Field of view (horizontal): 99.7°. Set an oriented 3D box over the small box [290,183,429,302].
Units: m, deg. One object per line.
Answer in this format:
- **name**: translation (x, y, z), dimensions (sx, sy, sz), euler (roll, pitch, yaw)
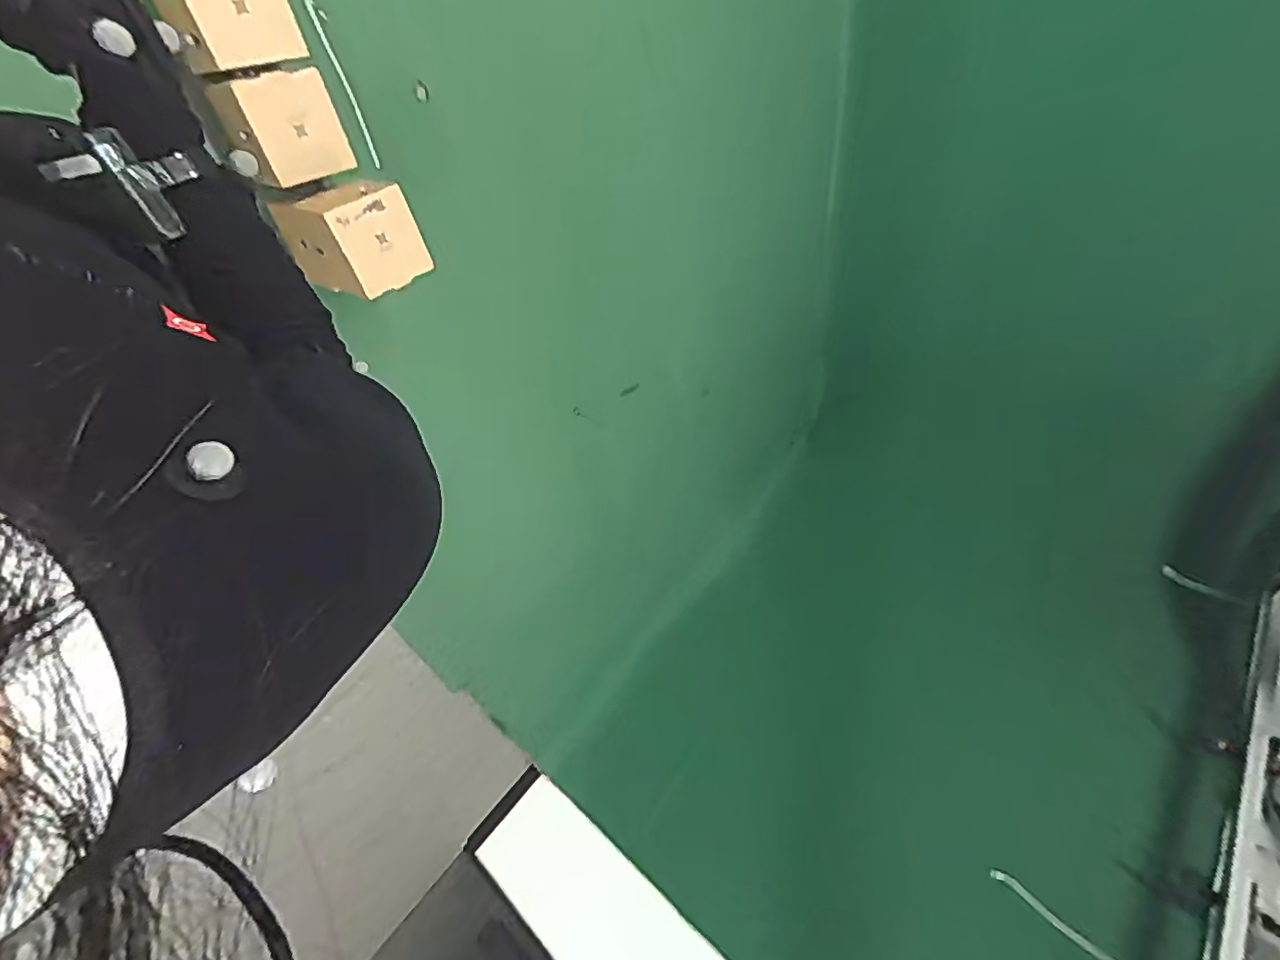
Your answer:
- **small box**: translation (-0.589, -0.506, 1.141), dimensions (0.168, 0.176, 0.179), euler (-43, 141, -29)
